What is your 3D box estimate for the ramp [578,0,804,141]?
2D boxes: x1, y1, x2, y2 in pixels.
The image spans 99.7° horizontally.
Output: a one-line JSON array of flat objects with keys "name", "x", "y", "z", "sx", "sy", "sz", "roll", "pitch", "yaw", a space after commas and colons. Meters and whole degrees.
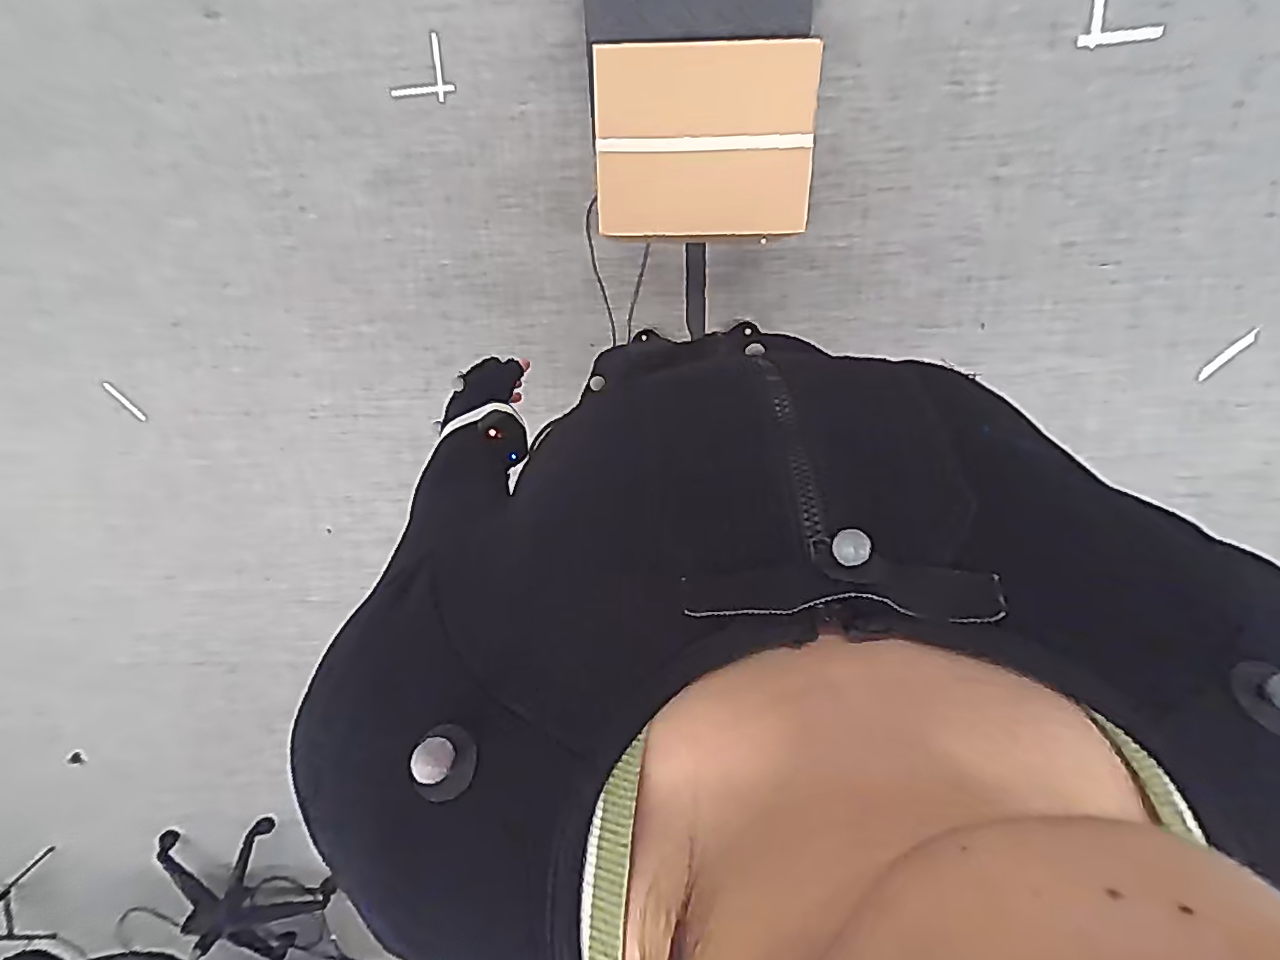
[{"name": "ramp", "x": 0.102, "y": -1.250, "z": 1.053, "sx": 0.509, "sy": 0.206, "sz": 0.991, "roll": -3, "pitch": 107, "yaw": 2}]

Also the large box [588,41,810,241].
[{"name": "large box", "x": 0.113, "y": -0.684, "z": 1.151, "sx": 0.408, "sy": 0.320, "sz": 0.320, "roll": 0, "pitch": 111, "yaw": 2}]
